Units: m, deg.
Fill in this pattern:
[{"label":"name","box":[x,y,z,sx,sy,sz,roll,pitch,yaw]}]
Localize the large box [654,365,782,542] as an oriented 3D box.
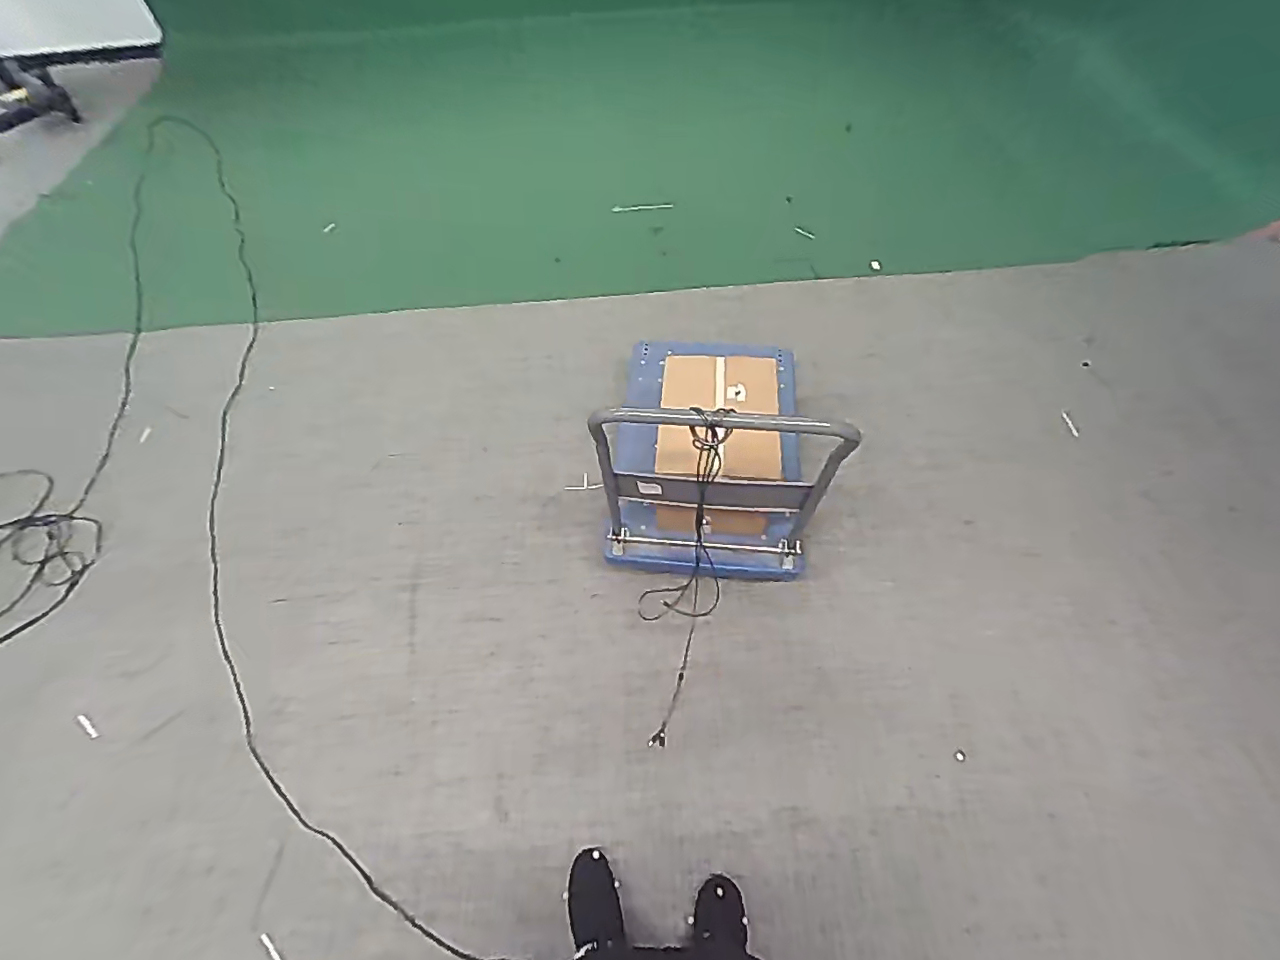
[{"label":"large box","box":[0.213,-0.070,1.540,0.320,0.320,0.408,3,57,5]}]
